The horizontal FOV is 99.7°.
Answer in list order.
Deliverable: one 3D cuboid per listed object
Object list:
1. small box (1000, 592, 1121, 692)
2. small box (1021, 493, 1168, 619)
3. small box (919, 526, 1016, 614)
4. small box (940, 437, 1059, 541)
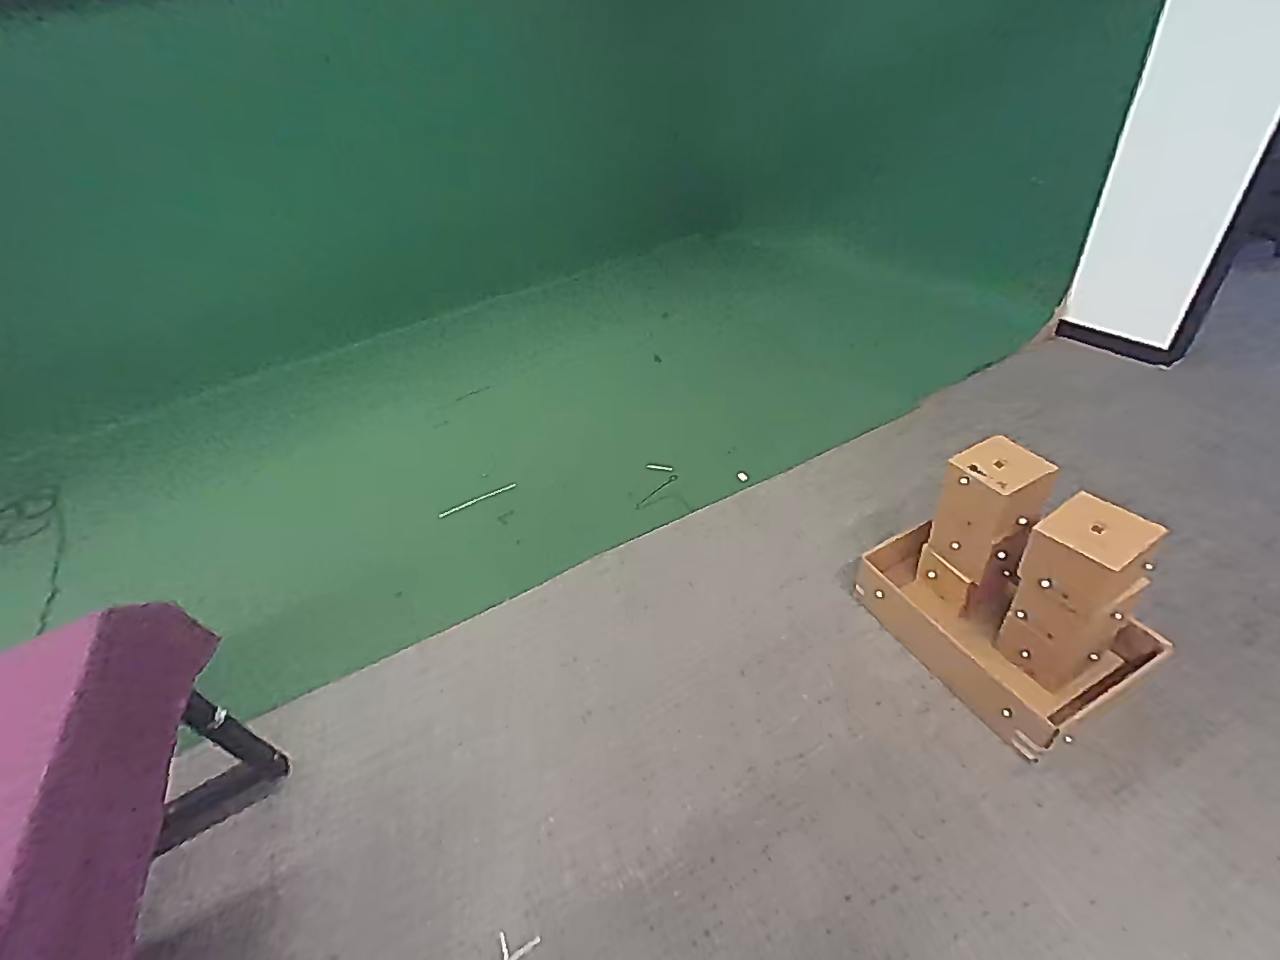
[{"bbox_3d":[1.067,0.408,1.391,0.179,0.176,0.168,-25,40,-12],"label":"small box"},{"bbox_3d":[0.981,0.166,1.186,0.179,0.176,0.168,-28,40,-15],"label":"small box"},{"bbox_3d":[0.953,0.265,1.595,0.179,0.176,0.168,-21,41,-10],"label":"small box"},{"bbox_3d":[0.902,0.024,1.376,0.179,0.176,0.168,-22,40,-11],"label":"small box"}]
